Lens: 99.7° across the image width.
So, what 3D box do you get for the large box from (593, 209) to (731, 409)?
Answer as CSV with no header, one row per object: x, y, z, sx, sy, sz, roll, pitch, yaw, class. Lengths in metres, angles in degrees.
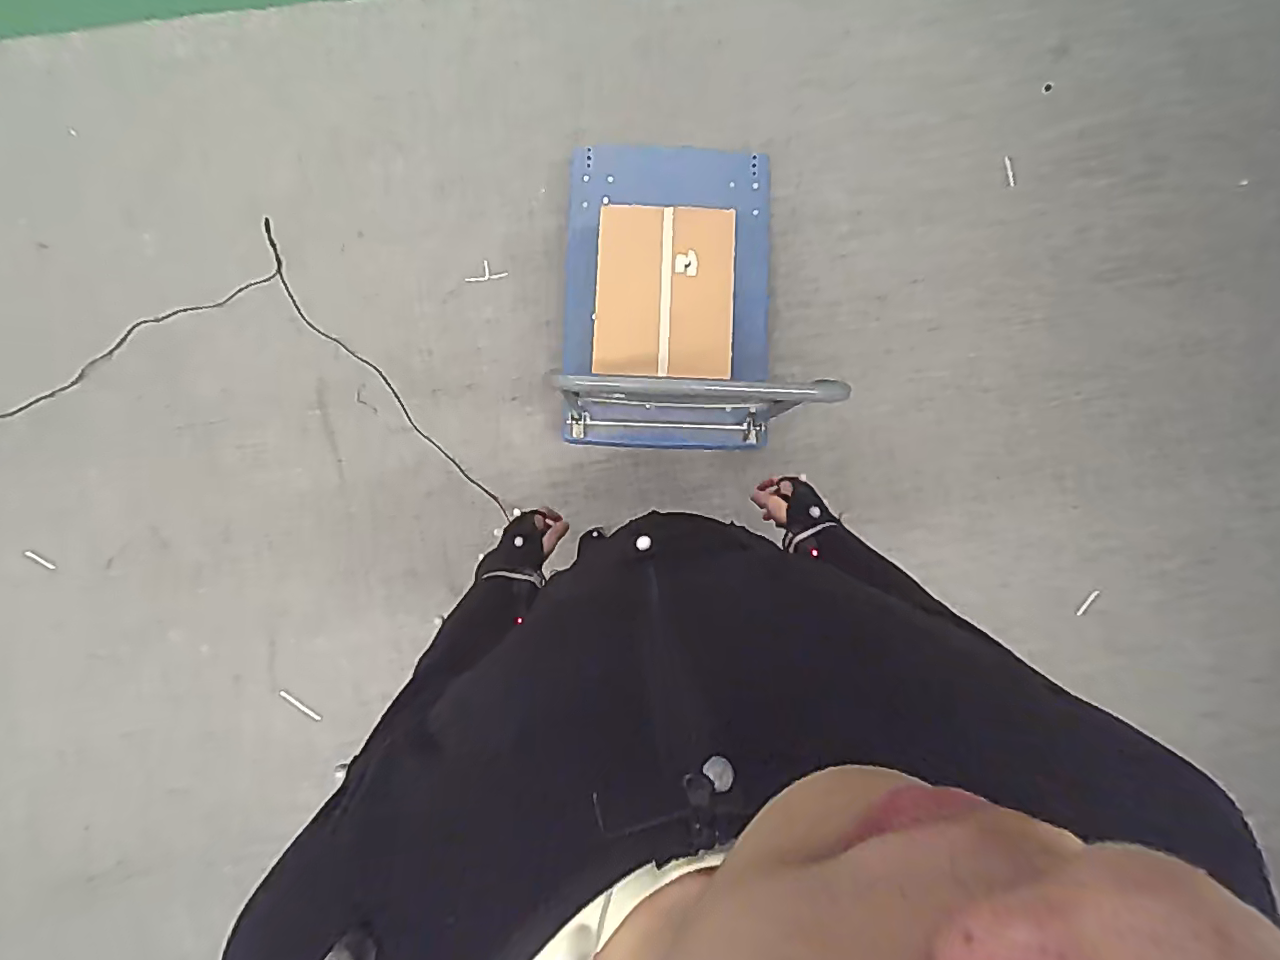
0.052,-0.411,1.380,0.320,0.320,0.408,2,84,-1,large box
